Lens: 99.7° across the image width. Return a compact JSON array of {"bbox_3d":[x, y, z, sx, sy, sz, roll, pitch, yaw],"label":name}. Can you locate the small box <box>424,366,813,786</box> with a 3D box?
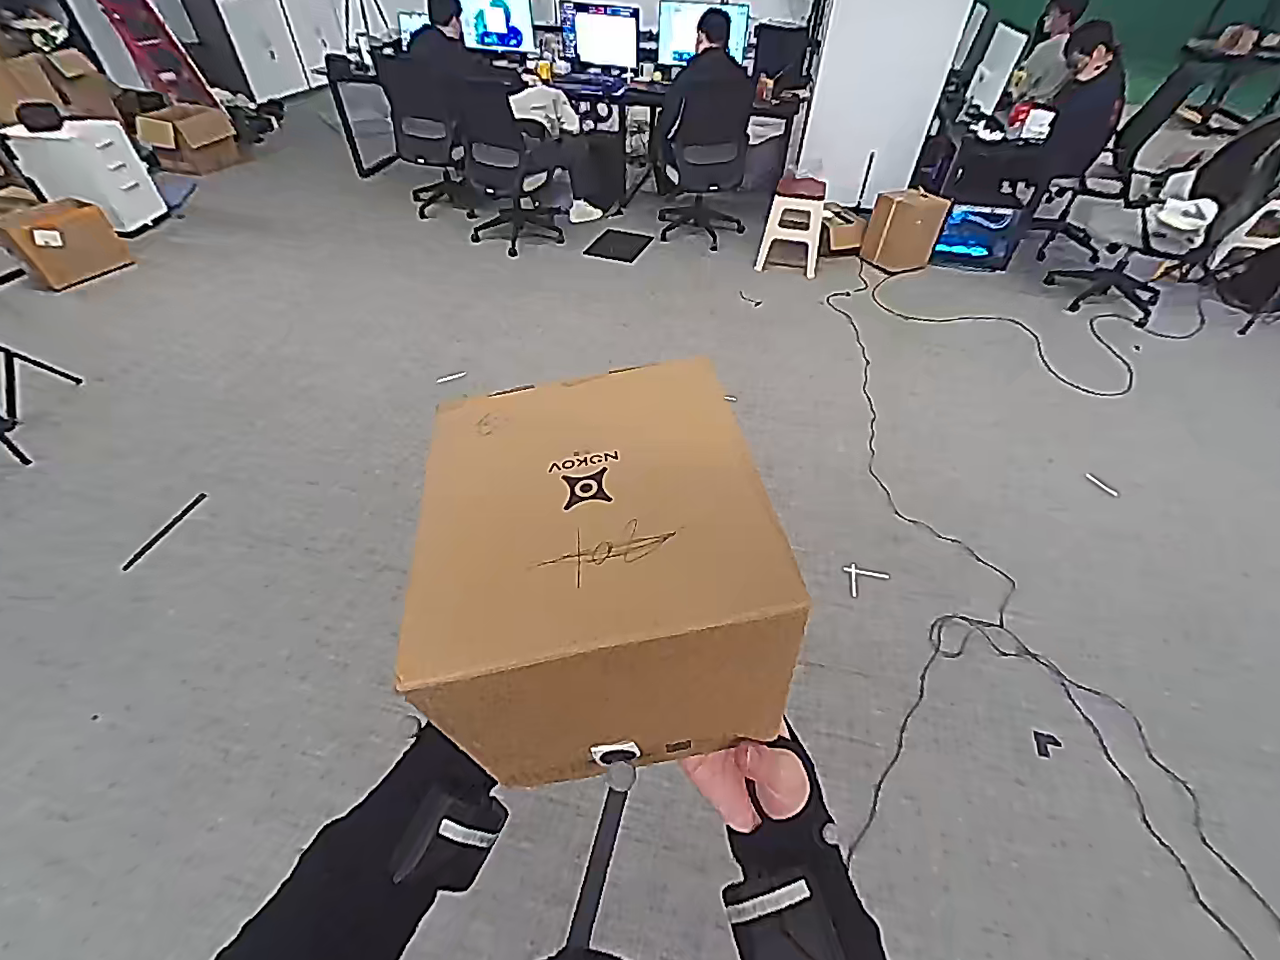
[{"bbox_3d":[-0.014,0.060,0.336,0.168,0.176,0.179,-13,48,-3],"label":"small box"}]
